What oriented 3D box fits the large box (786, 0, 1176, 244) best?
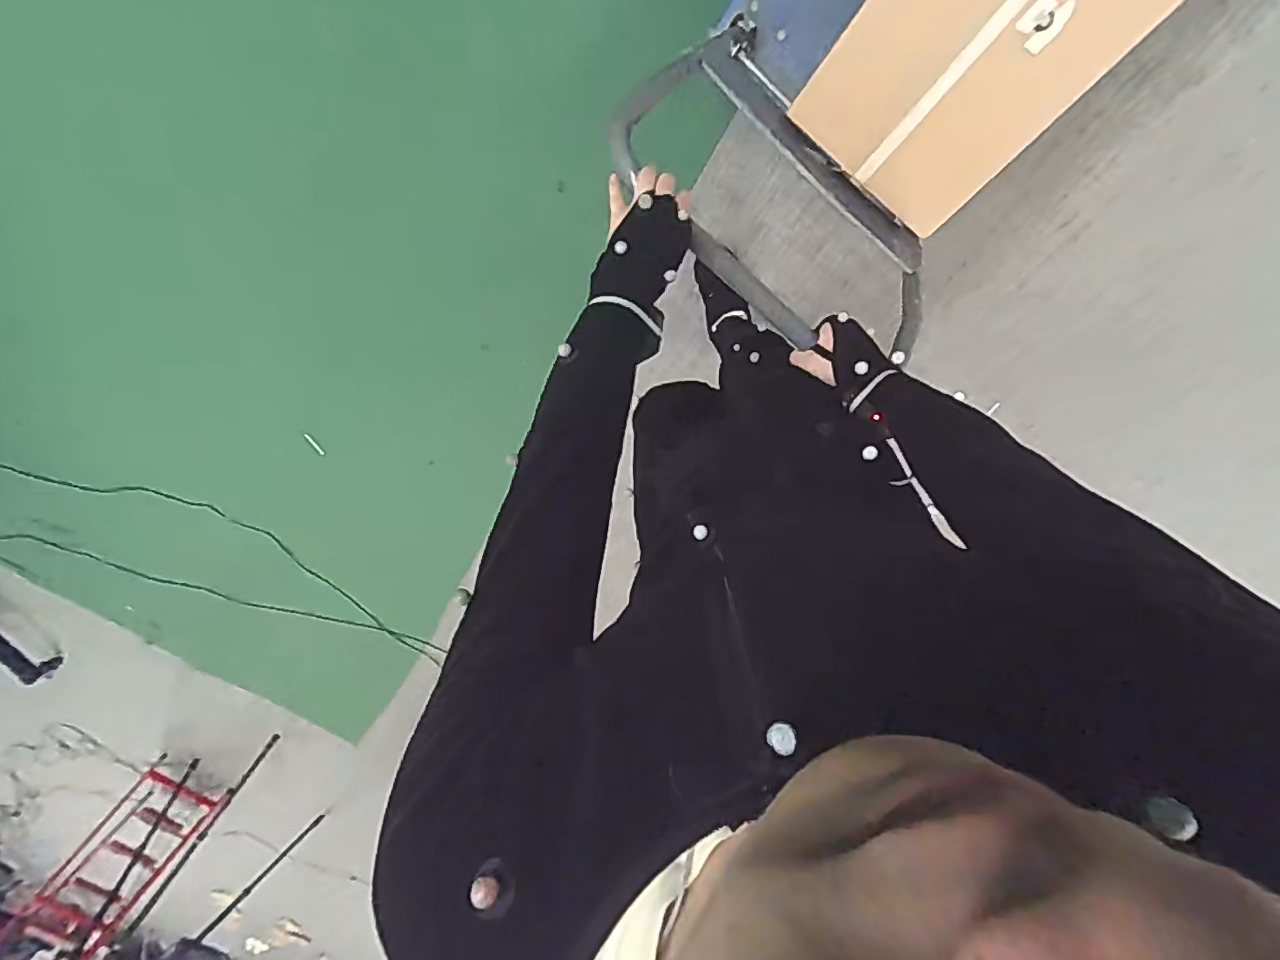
[{"bbox_3d":[0.503,-0.686,0.884,0.320,0.320,0.408,36,133,-10],"label":"large box"}]
